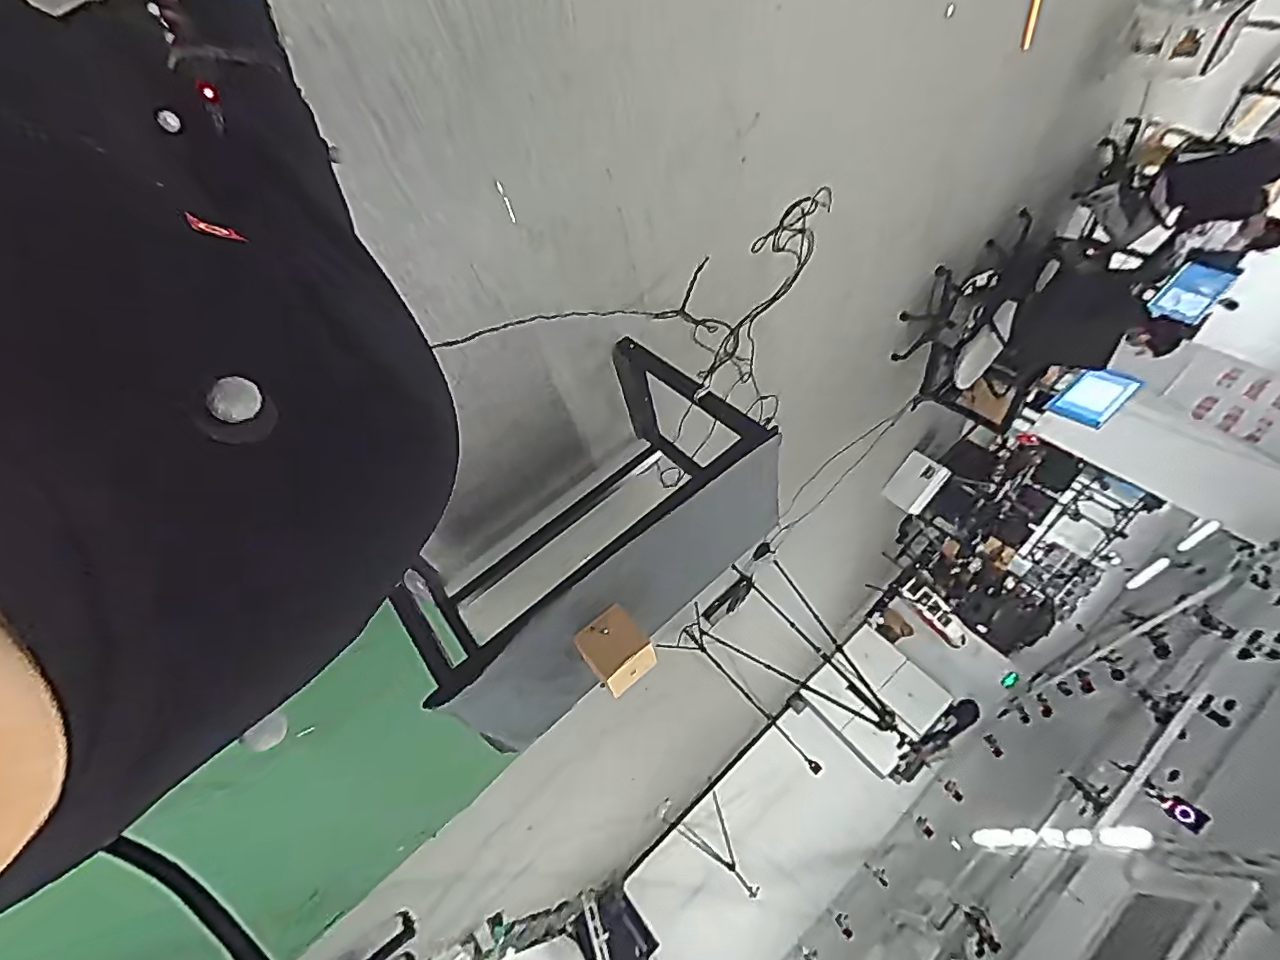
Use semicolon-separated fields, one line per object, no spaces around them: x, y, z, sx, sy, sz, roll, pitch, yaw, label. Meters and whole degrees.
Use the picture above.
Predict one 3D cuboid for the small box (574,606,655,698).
-0.075;0.509;1.612;0.168;0.176;0.179;-36;144;-19;small box
